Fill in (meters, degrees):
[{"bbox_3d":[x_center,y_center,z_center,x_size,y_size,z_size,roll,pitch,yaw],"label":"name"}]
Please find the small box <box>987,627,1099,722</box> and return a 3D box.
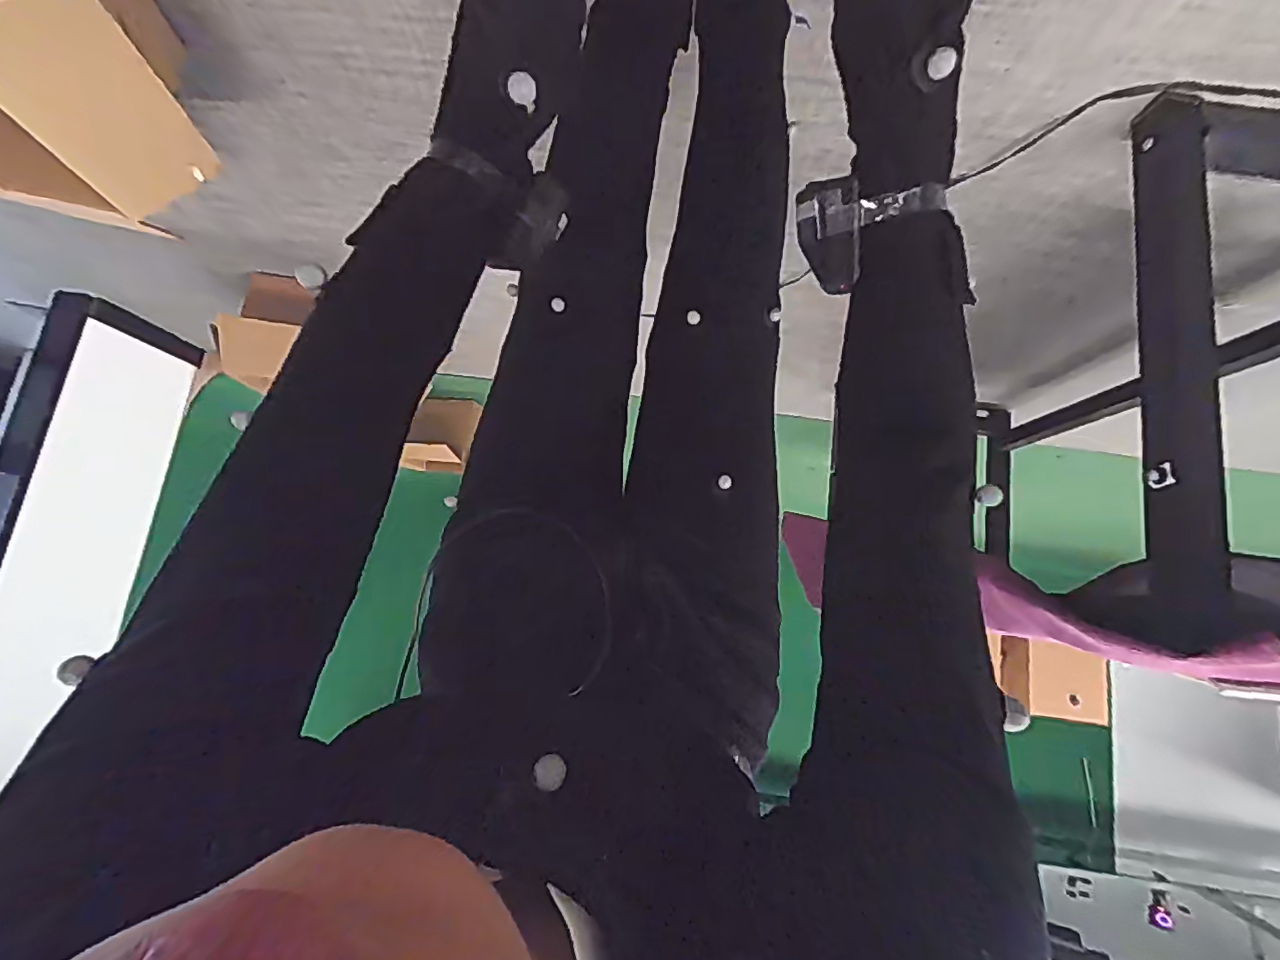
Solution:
[{"bbox_3d":[0.928,0.449,1.270,0.179,0.176,0.168,9,169,0],"label":"small box"}]
